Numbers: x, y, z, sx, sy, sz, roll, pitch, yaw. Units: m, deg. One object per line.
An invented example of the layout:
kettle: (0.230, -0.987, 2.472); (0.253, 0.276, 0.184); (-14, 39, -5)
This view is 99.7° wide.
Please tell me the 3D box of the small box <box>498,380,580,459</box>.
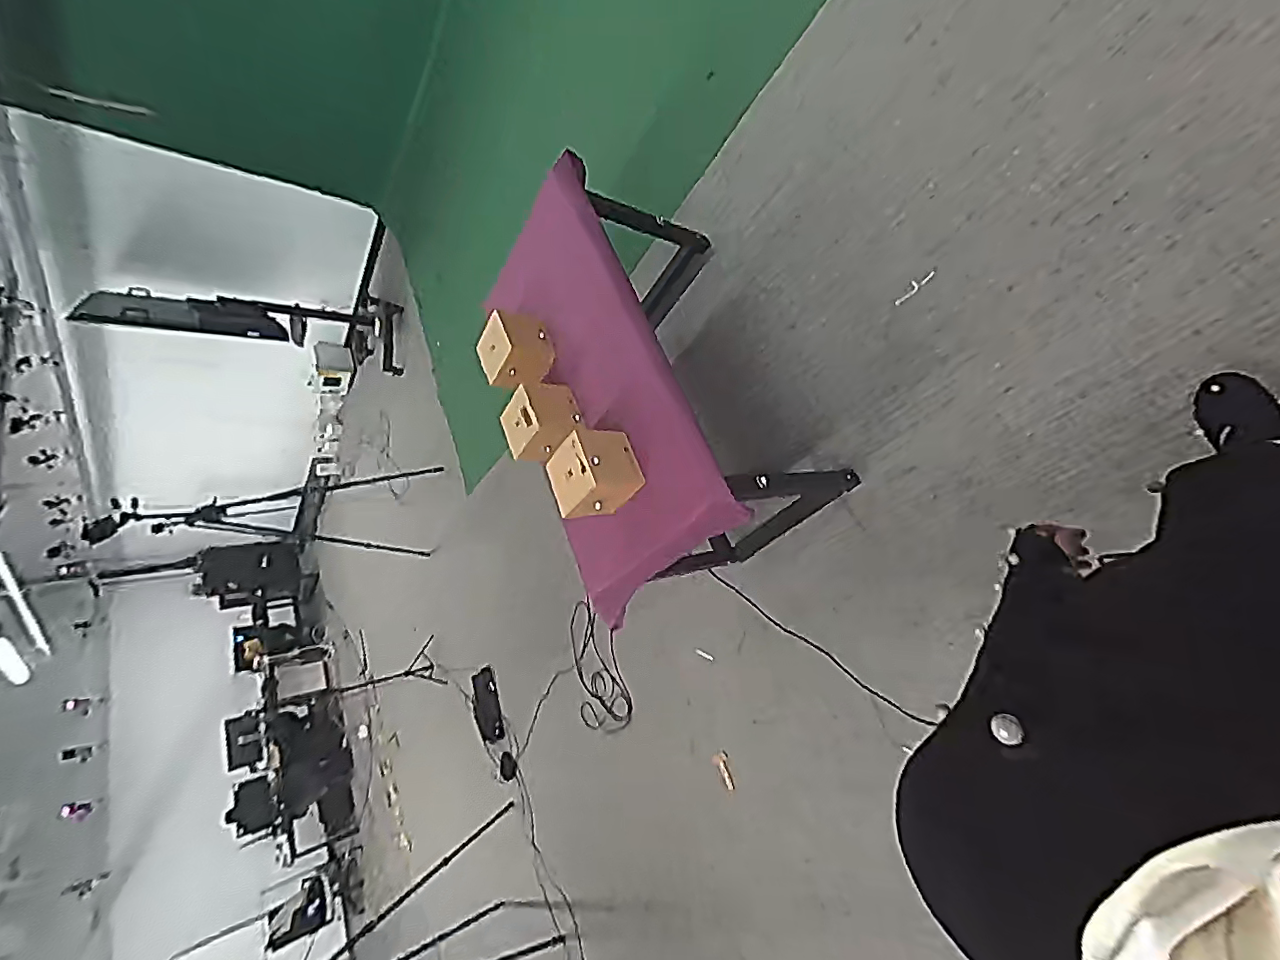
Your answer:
small box: (-0.297, -0.180, 1.623); (0.179, 0.176, 0.168); (-45, 60, 40)

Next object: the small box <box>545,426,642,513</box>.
small box: (-0.124, -0.026, 1.439); (0.179, 0.176, 0.168); (-43, 62, 41)

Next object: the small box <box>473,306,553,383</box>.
small box: (-0.405, -0.422, 1.729); (0.179, 0.176, 0.168); (-45, 61, 39)
